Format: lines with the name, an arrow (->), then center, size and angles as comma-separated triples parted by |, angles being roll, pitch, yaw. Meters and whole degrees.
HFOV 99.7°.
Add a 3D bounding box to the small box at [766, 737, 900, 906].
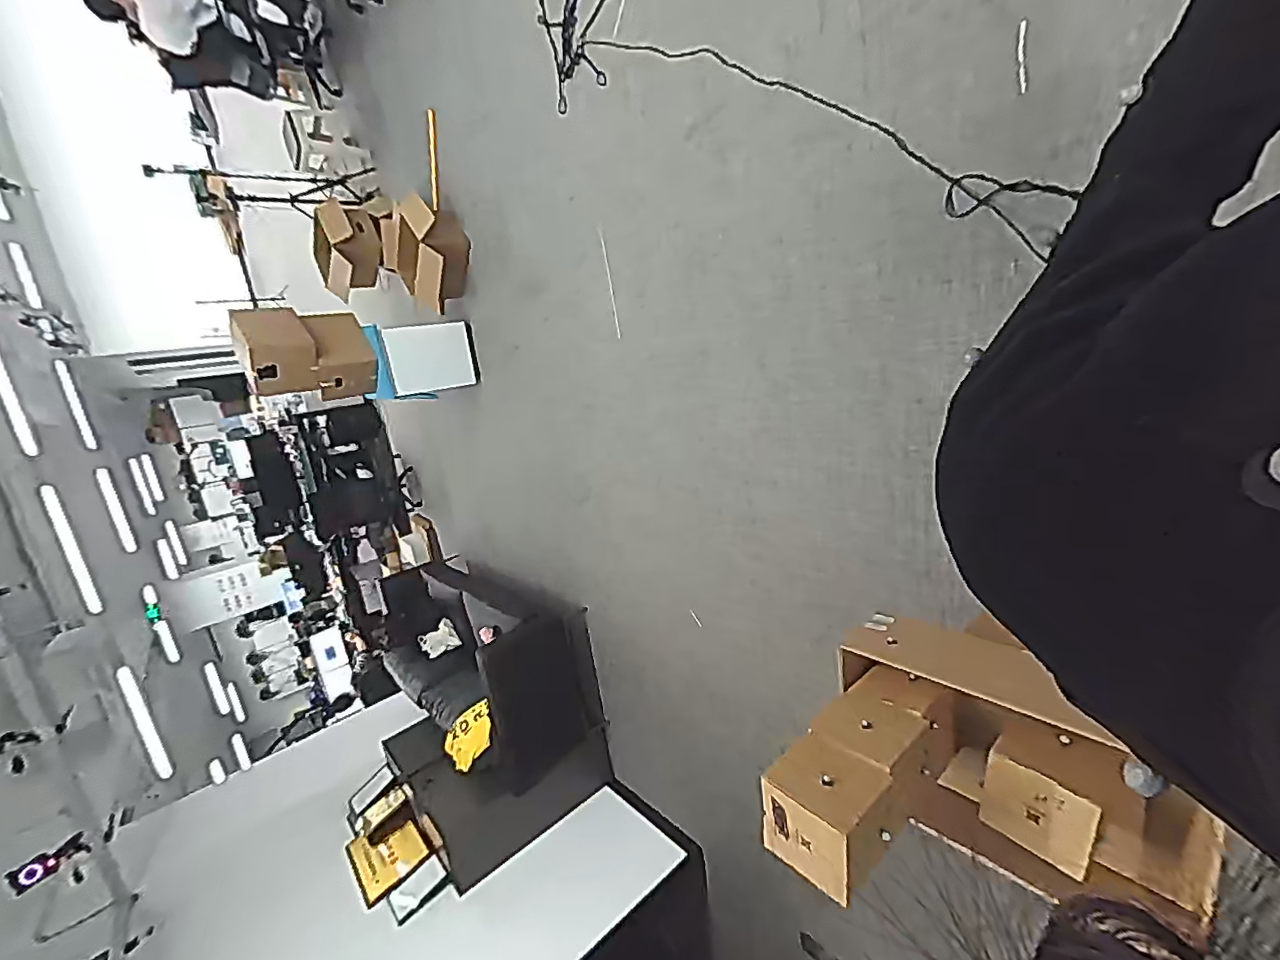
small box -> 0.357, 0.618, 1.010 | 0.179, 0.176, 0.168 | 13, 114, 49
